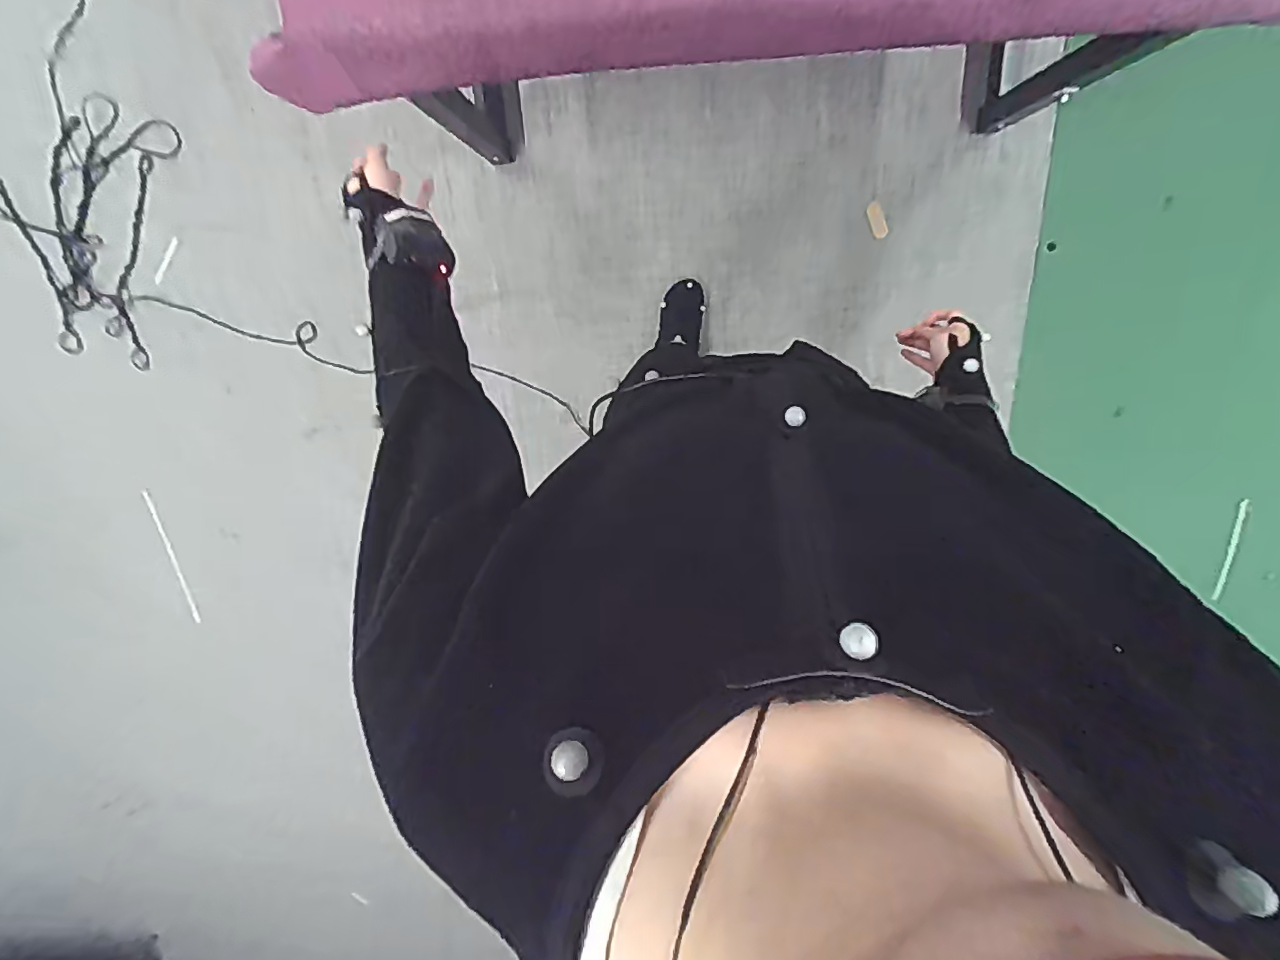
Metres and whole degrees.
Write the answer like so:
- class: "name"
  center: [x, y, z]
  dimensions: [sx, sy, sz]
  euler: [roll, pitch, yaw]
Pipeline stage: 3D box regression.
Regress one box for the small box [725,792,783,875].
- class: "small box"
  center: [0.378, 1.173, 1.805]
  dimensions: [0.168, 0.176, 0.179]
  euler: [-5, 108, 5]
